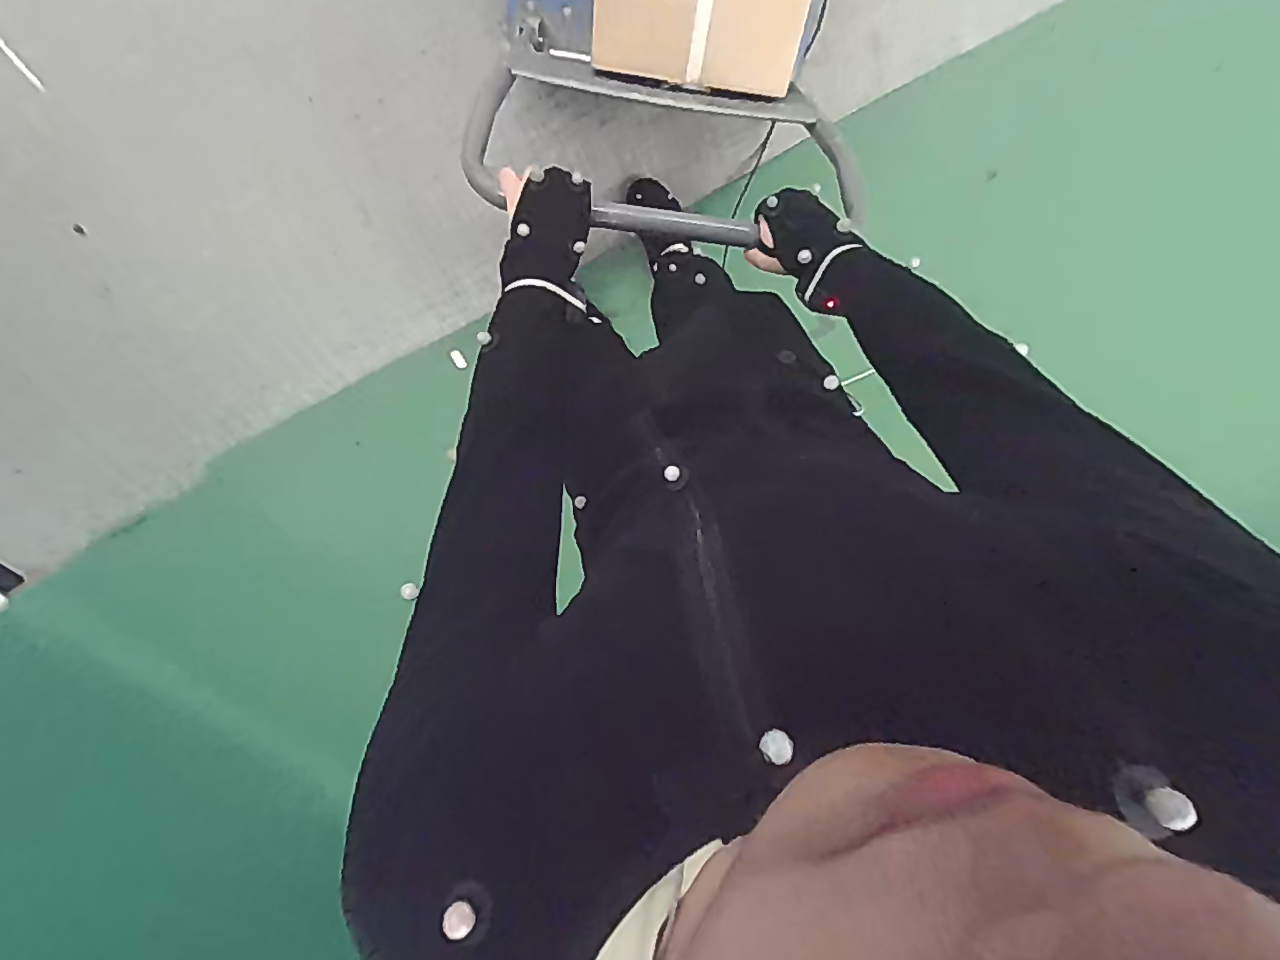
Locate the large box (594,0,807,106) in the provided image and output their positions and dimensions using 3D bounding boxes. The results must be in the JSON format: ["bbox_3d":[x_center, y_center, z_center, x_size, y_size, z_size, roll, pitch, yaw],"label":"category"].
[{"bbox_3d":[0.101,-0.867,0.847,0.320,0.320,0.408,5,133,-6],"label":"large box"}]
